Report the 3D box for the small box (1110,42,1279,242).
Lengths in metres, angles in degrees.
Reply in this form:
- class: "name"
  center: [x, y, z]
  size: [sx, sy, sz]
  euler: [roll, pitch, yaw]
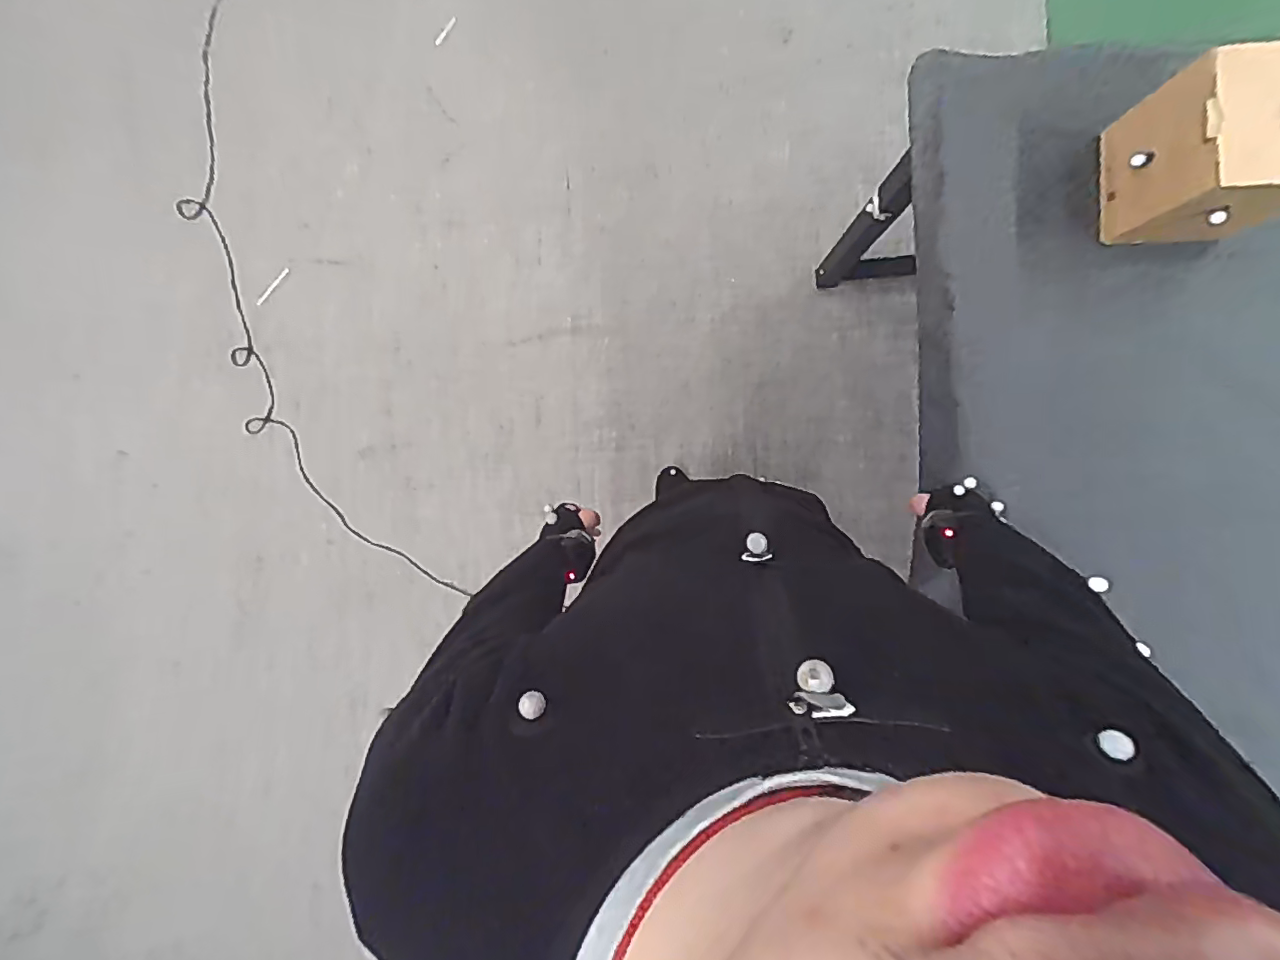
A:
- class: "small box"
  center: [0.762, -0.423, 0.702]
  size: [0.179, 0.176, 0.168]
  euler: [-1, 92, 3]
